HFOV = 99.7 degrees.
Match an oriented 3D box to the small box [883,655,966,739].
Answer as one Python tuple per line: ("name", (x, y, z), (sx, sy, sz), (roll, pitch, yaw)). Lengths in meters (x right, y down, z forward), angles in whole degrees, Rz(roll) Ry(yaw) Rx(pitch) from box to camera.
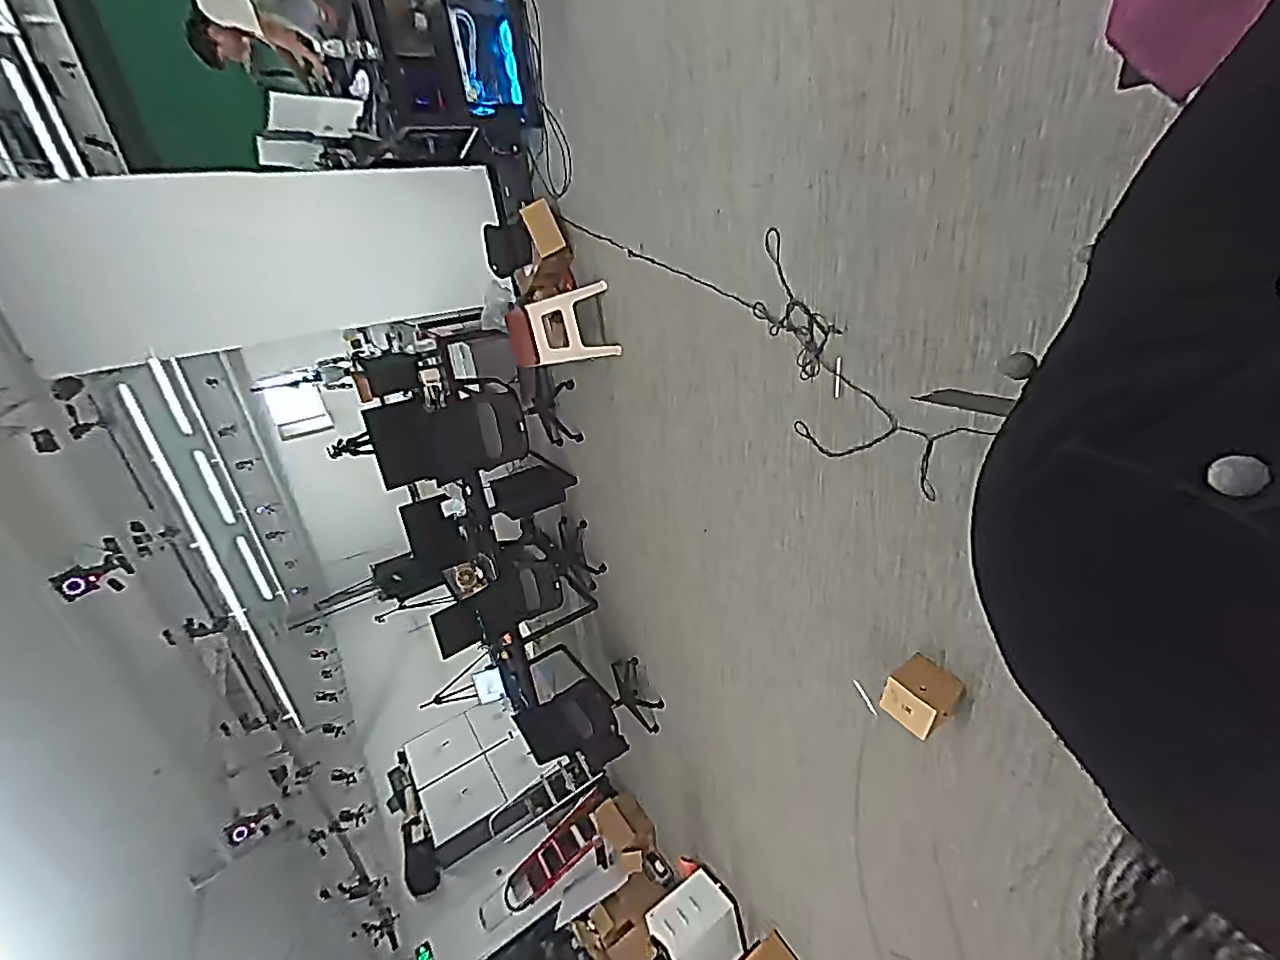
("small box", (0.976, 0.737, 1.857), (0.179, 0.176, 0.168), (38, 139, 45))
